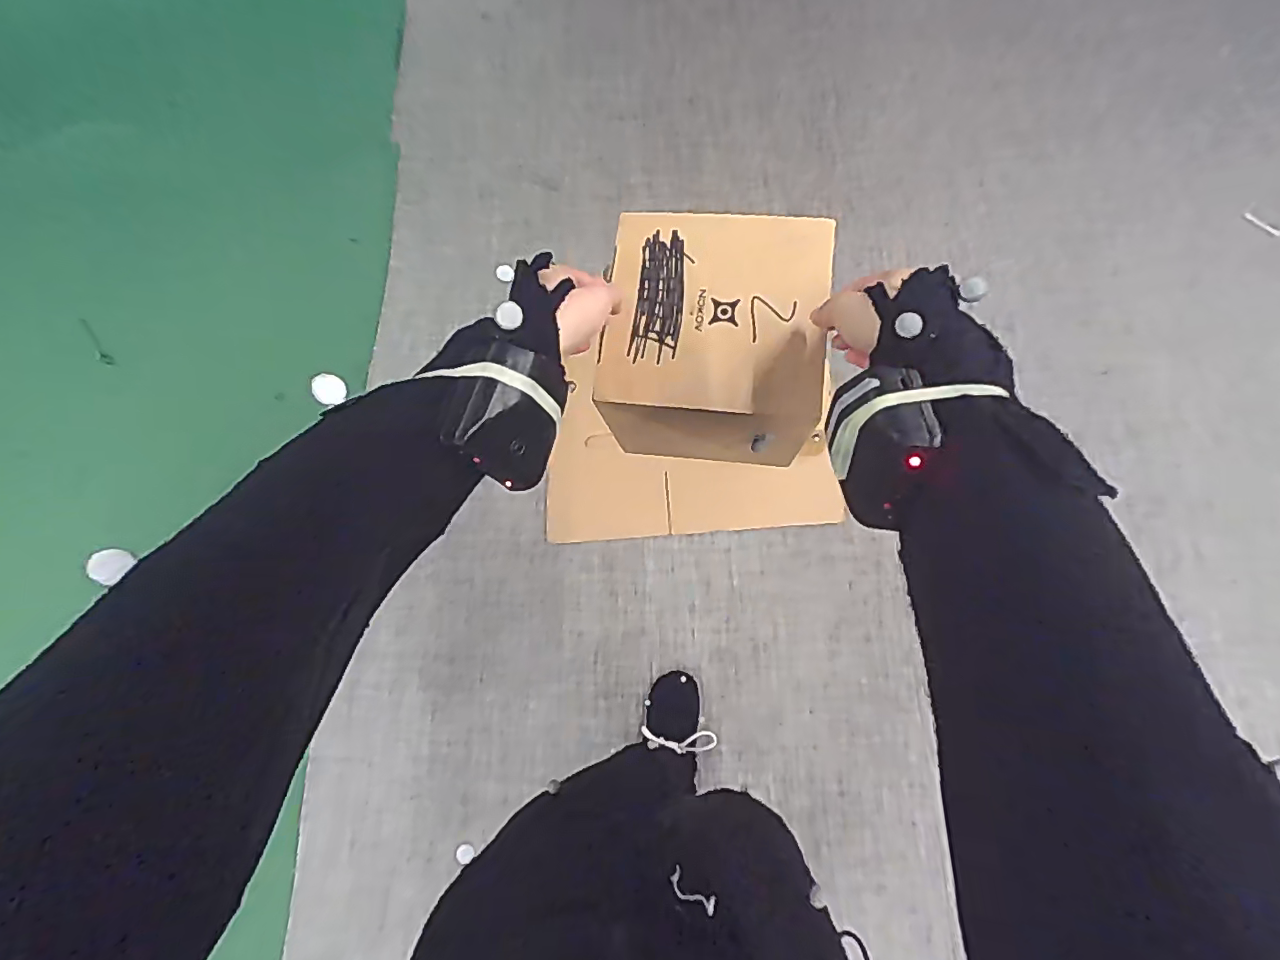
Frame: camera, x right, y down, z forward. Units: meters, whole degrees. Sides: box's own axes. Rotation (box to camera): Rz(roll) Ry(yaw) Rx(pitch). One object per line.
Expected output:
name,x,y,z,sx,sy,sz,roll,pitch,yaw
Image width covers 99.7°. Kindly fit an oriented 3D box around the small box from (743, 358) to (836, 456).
small box,0.328,-0.157,1.223,0.179,0.176,0.168,-3,73,5
